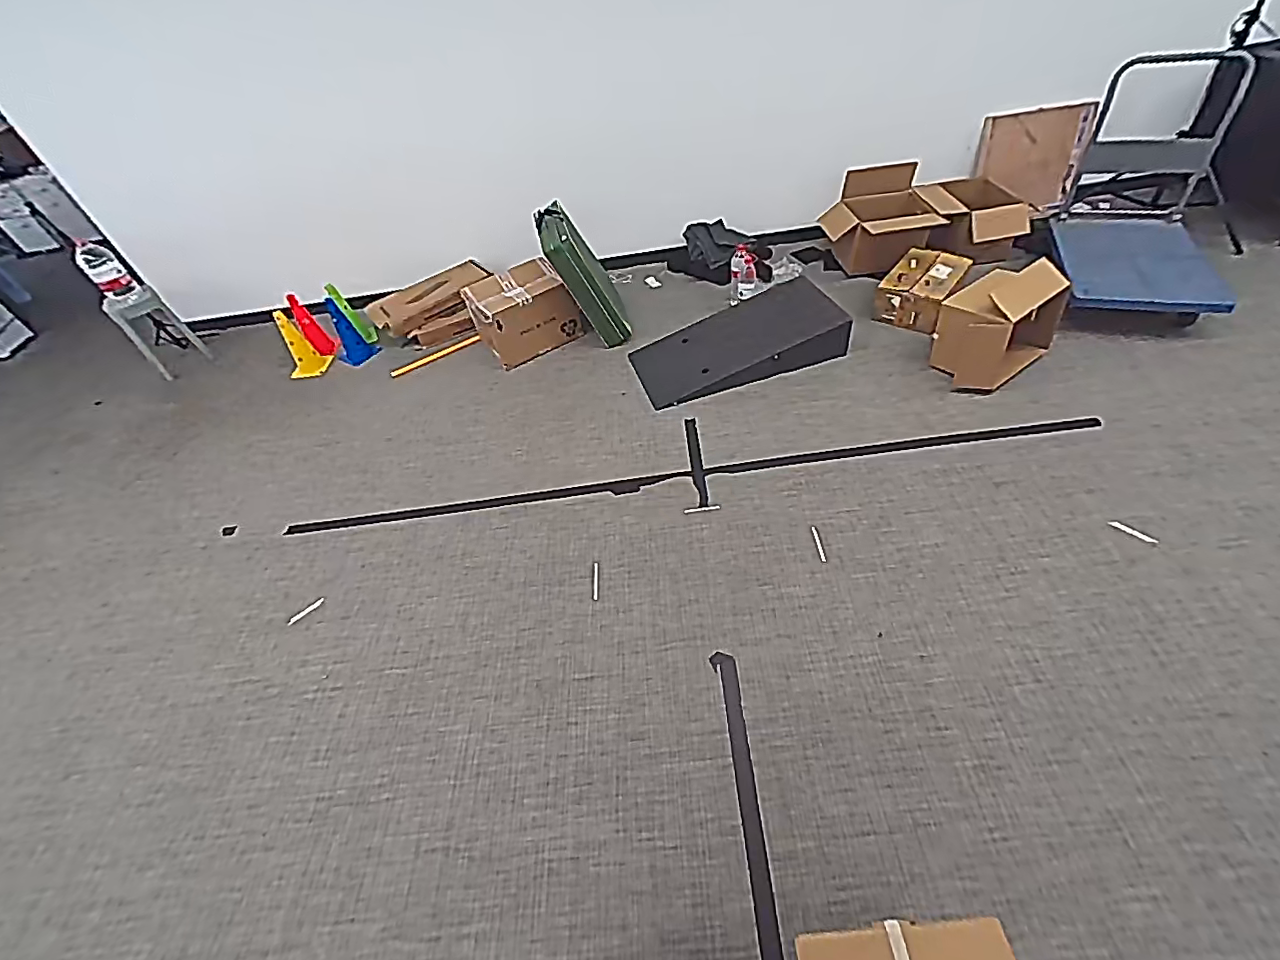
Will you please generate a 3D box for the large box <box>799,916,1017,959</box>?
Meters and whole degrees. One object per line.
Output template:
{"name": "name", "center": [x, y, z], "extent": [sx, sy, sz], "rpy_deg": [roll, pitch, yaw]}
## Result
{"name": "large box", "center": [0.450, 0.941, 0.821], "extent": [0.320, 0.320, 0.408], "rpy_deg": [-12, 48, 8]}
